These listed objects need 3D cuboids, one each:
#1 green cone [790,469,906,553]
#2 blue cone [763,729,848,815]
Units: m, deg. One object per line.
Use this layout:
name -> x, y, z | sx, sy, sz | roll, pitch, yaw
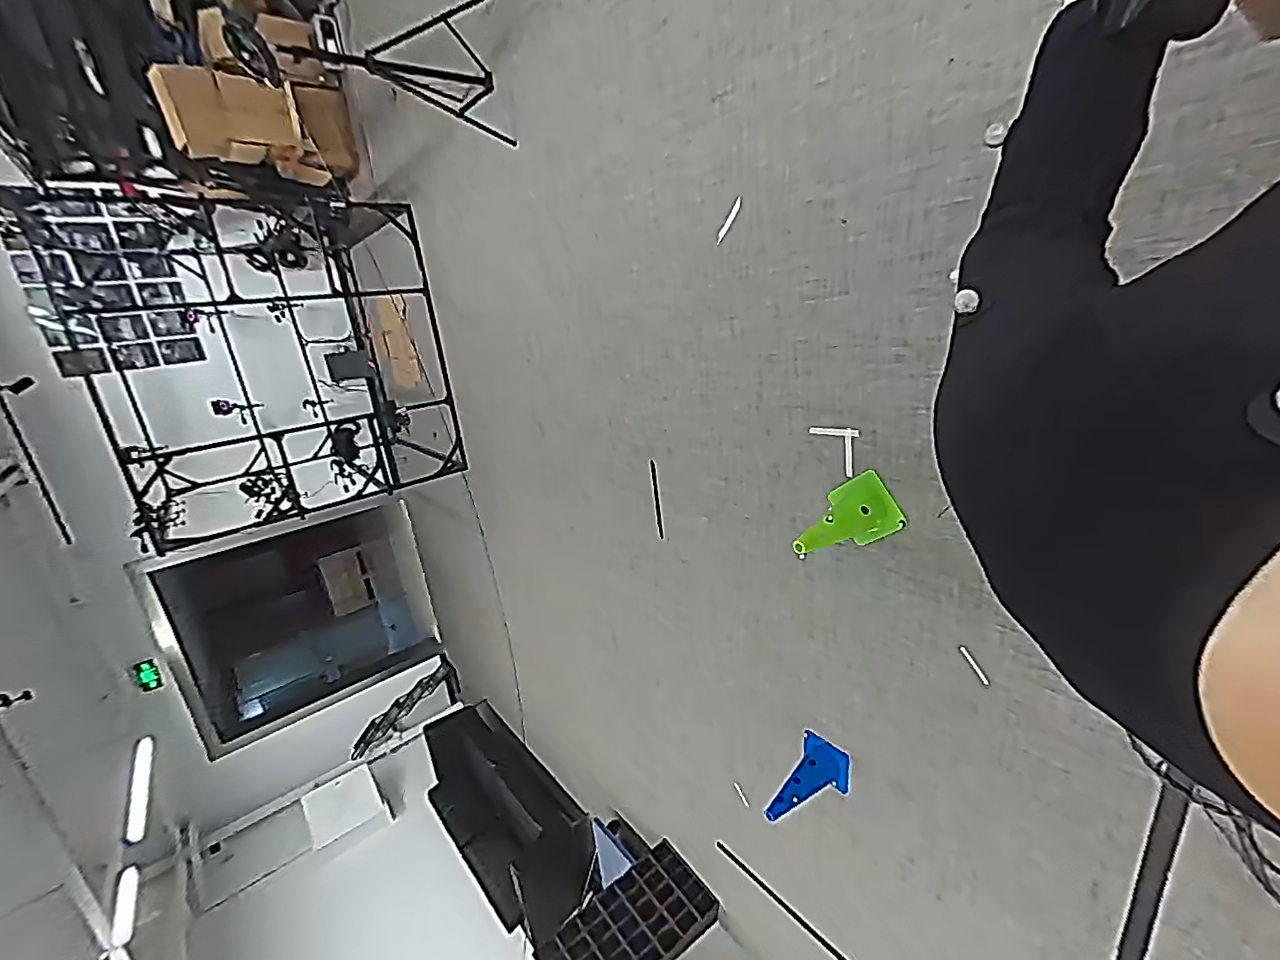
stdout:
green cone -> 0.575, 0.130, 1.603 | 0.200, 0.368, 0.202 | 62, 146, 13
blue cone -> 0.616, 1.159, 2.072 | 0.192, 0.380, 0.193 | 21, 122, 49
